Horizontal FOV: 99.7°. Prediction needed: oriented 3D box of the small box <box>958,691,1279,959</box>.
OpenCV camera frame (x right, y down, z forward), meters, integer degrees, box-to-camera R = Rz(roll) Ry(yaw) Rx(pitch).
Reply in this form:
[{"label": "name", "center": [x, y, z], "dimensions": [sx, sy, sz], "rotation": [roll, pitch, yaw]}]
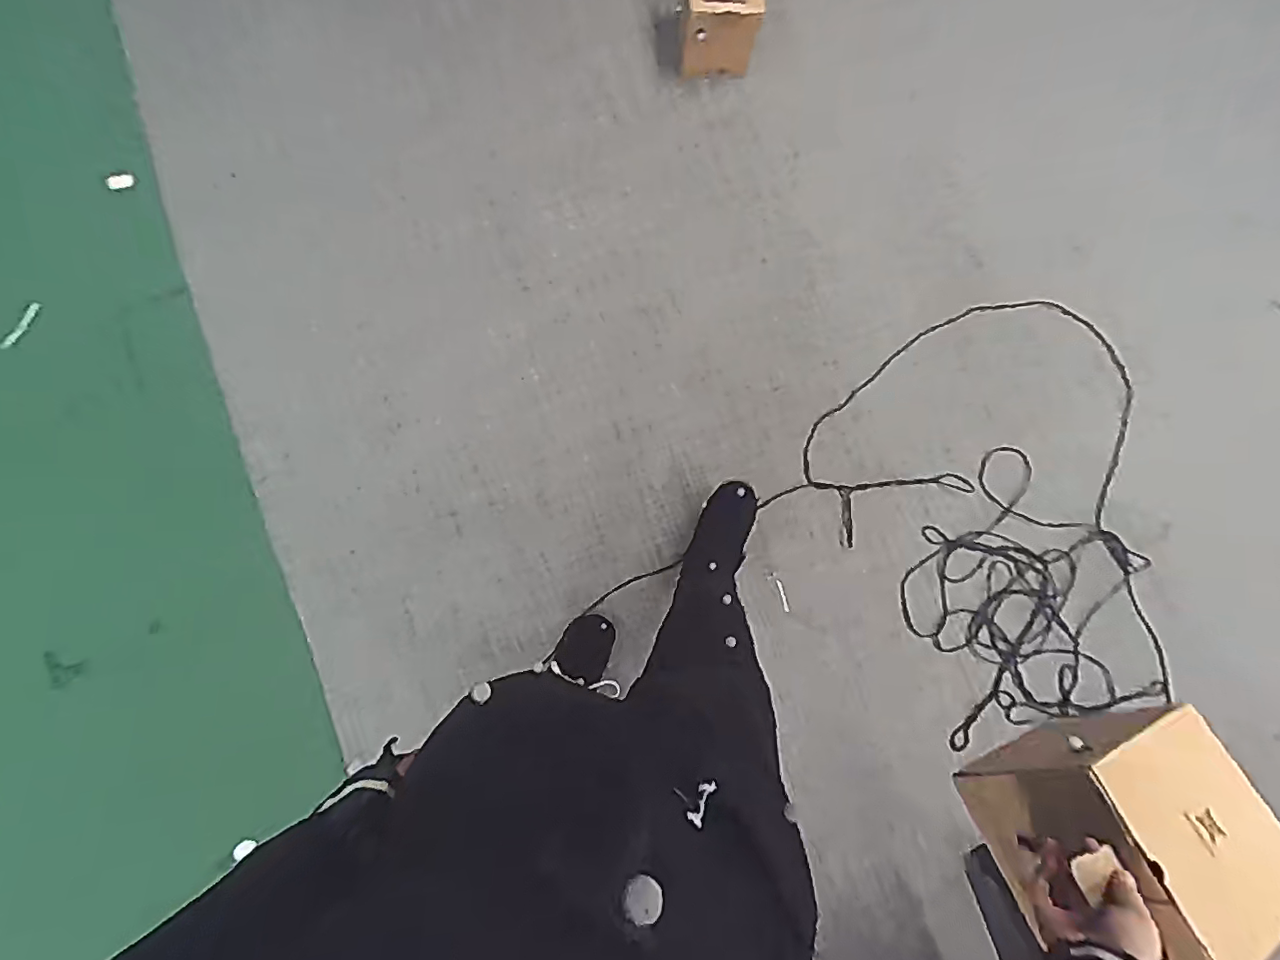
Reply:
[{"label": "small box", "center": [0.468, 0.330, 0.534], "dimensions": [0.179, 0.176, 0.168], "rotation": [-13, 64, -24]}]
